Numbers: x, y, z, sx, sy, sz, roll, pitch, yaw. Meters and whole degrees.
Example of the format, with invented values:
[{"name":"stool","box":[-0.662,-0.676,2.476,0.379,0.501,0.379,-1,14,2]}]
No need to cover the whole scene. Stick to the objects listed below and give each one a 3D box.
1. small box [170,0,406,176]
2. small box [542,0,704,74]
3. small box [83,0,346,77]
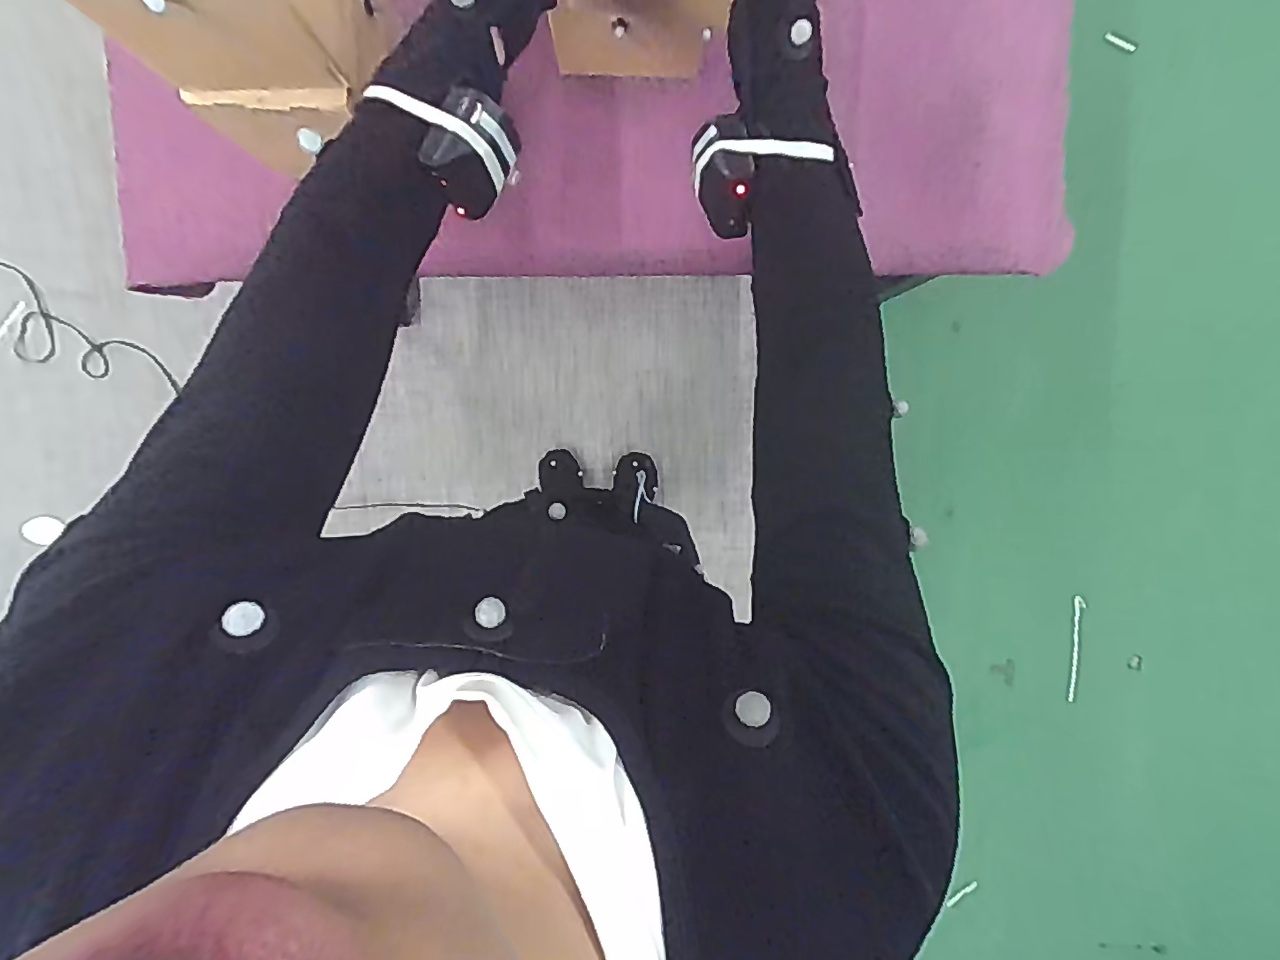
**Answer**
[{"name":"small box","box":[-0.375,-0.473,0.602,0.168,0.176,0.179,3,97,-3]},{"name":"small box","box":[-0.018,-0.592,0.603,0.179,0.176,0.168,1,97,-2]},{"name":"small box","box":[-0.362,-0.465,0.439,0.179,0.176,0.168,-1,97,-2]}]
